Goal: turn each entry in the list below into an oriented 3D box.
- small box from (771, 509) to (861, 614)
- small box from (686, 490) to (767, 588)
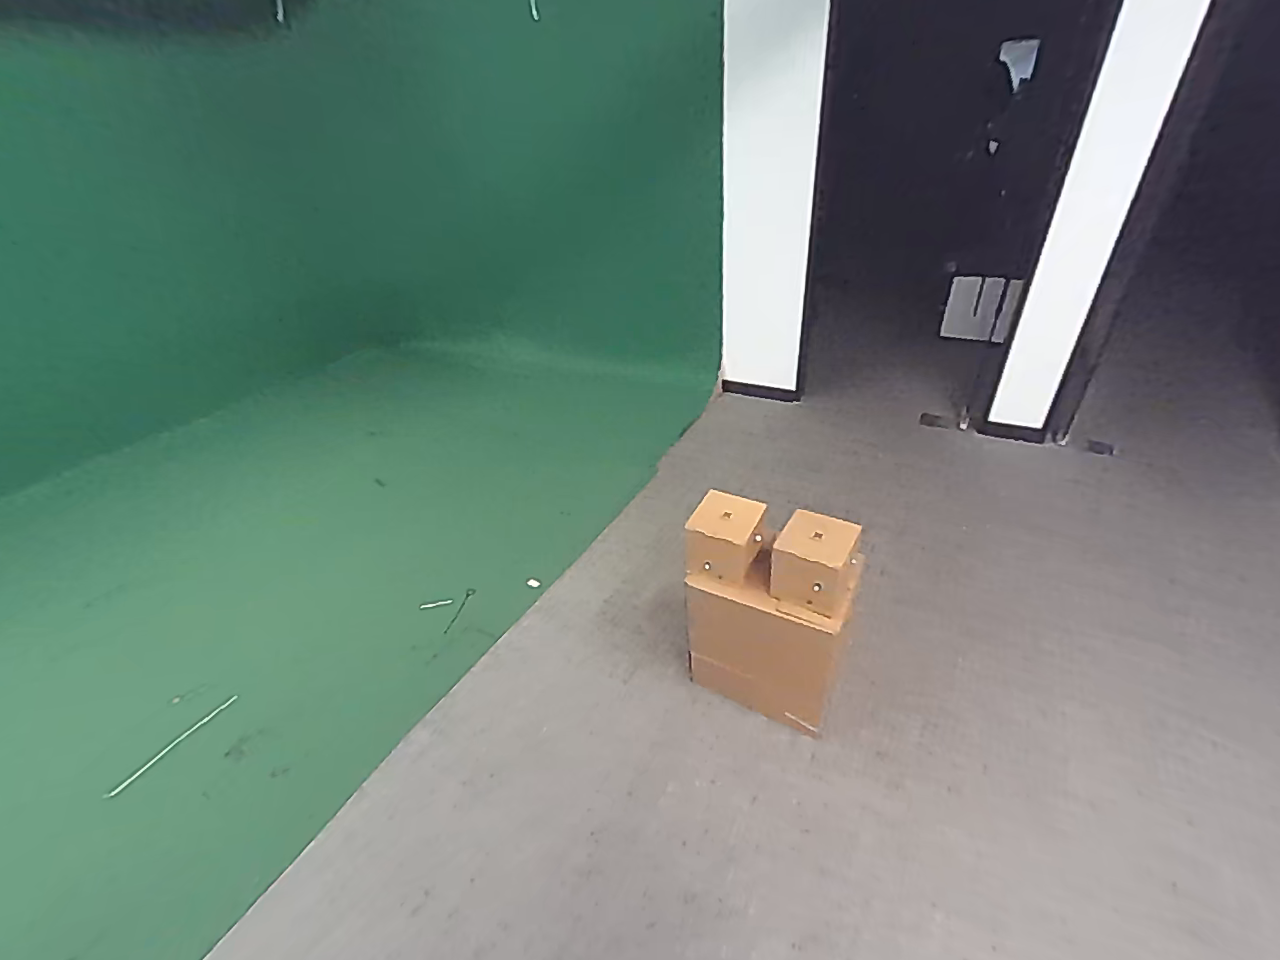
[{"bbox_3d":[0.441,0.205,1.362,0.168,0.176,0.179,17,40,30],"label":"small box"},{"bbox_3d":[0.232,0.158,1.464,0.168,0.176,0.179,15,42,25],"label":"small box"}]
